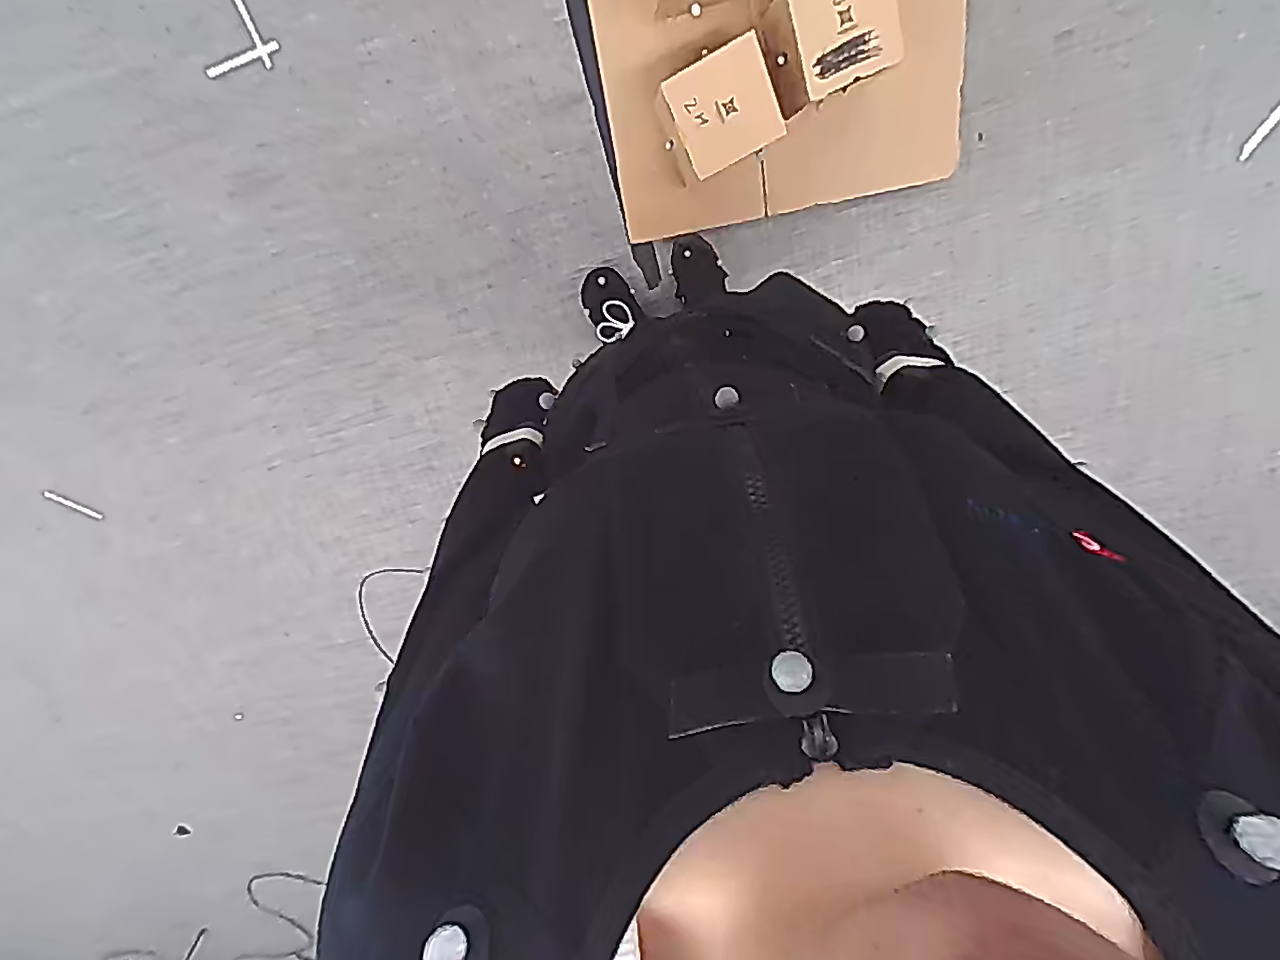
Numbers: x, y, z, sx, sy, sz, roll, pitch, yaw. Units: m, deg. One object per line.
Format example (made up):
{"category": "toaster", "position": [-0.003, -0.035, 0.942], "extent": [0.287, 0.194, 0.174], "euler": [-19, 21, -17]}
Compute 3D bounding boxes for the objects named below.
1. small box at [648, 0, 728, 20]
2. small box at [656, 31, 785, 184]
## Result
{"category": "small box", "position": [0.084, -0.913, 0.893], "extent": [0.168, 0.176, 0.179], "euler": [-13, 116, 4]}
{"category": "small box", "position": [0.142, -0.678, 1.007], "extent": [0.179, 0.176, 0.168], "euler": [-24, 113, 9]}
